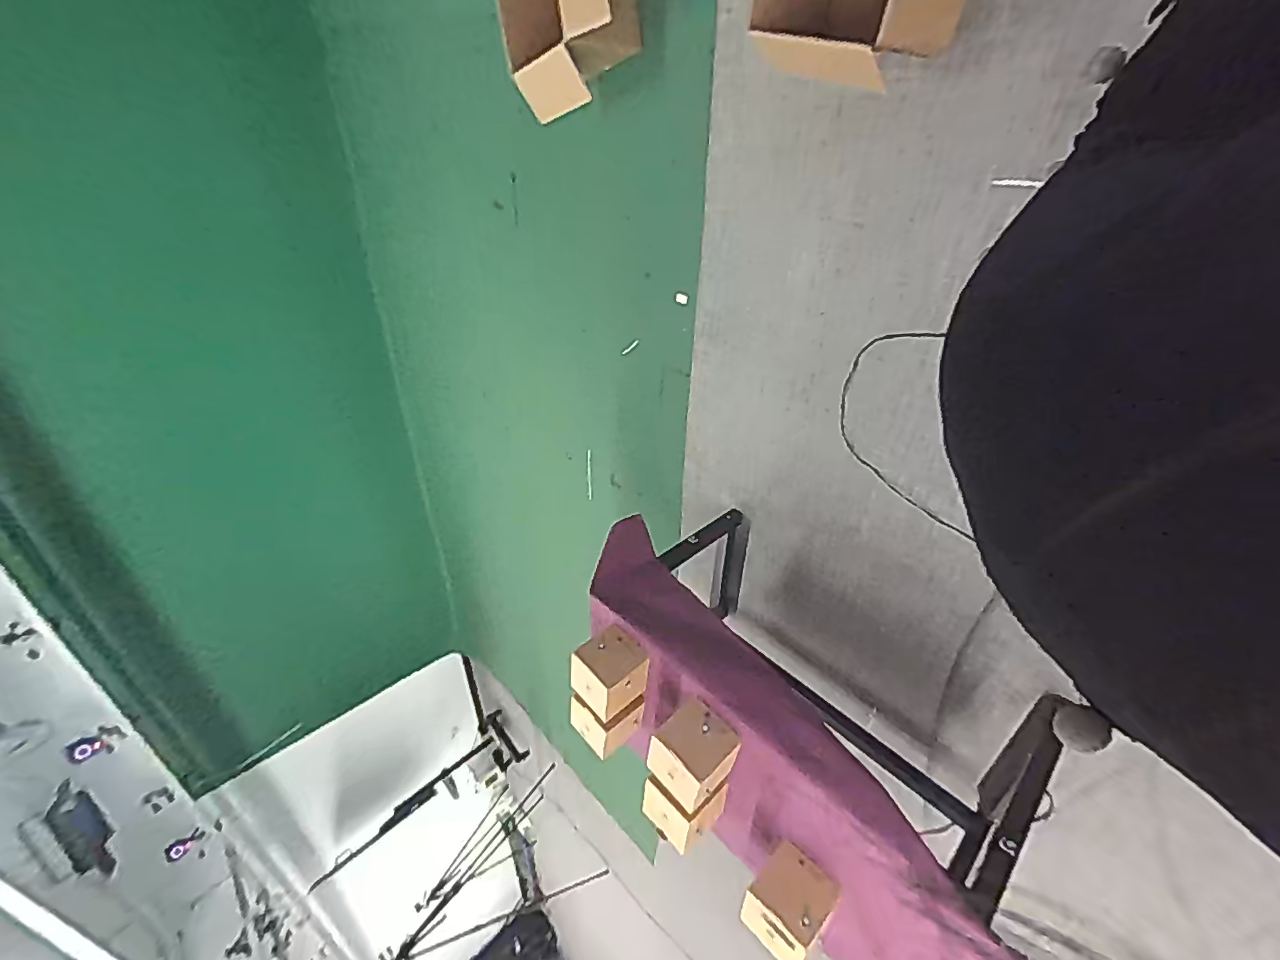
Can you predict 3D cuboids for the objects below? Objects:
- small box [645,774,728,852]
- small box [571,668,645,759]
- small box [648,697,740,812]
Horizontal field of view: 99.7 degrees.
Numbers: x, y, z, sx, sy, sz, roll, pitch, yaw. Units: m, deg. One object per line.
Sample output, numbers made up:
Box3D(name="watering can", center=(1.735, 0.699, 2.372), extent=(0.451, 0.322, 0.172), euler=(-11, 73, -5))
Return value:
Box3D(name="small box", center=(0.134, 0.906, 1.554), extent=(0.168, 0.176, 0.179), euler=(30, 133, 37))
Box3D(name="small box", center=(-0.102, 0.745, 1.740), extent=(0.168, 0.176, 0.179), euler=(37, 135, 32))
Box3D(name="small box", center=(0.142, 0.718, 1.424), extent=(0.168, 0.176, 0.179), euler=(35, 135, 33))
